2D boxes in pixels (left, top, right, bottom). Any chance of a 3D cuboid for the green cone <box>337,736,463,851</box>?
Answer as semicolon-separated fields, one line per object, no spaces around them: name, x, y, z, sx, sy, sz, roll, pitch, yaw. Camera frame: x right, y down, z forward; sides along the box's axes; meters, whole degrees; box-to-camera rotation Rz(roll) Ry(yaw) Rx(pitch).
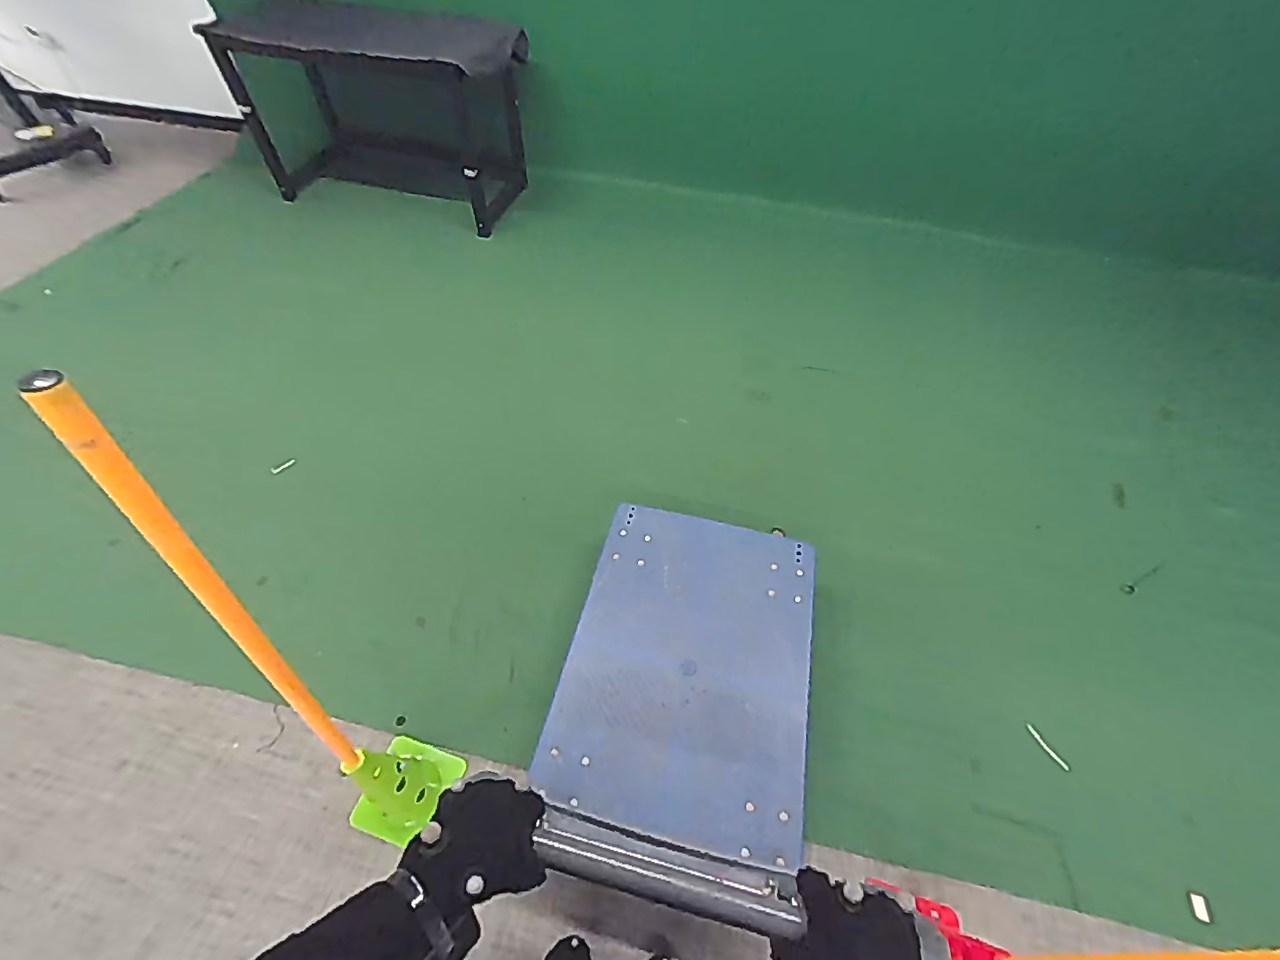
green cone;-0.536;0.618;1.132;0.202;0.368;0.200;15;52;10
